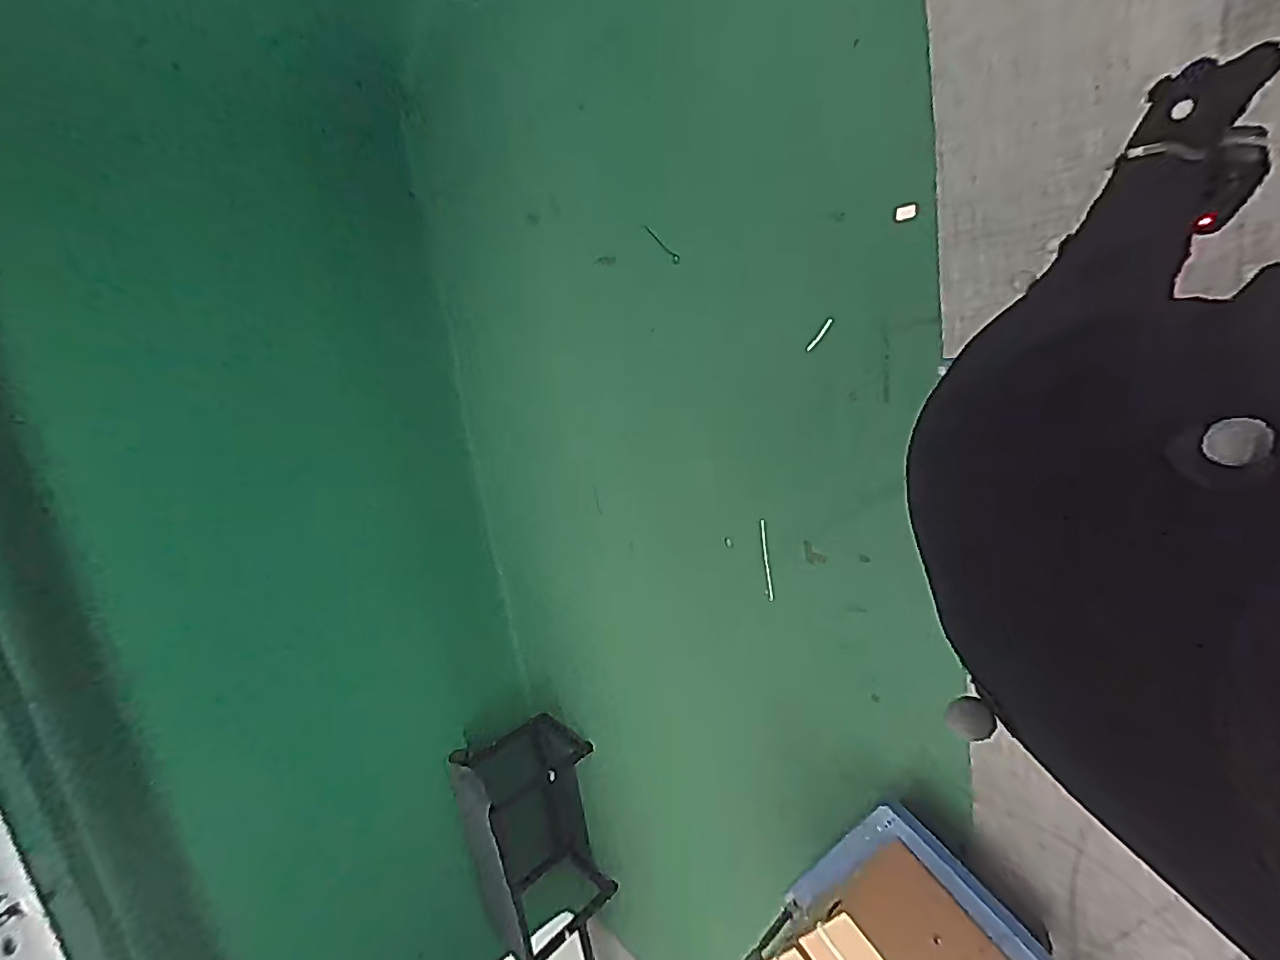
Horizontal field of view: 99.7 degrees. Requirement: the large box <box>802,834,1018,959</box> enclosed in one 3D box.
[{"bbox_3d":[0.750,1.323,1.515,0.408,0.320,0.320,44,135,31],"label":"large box"}]
